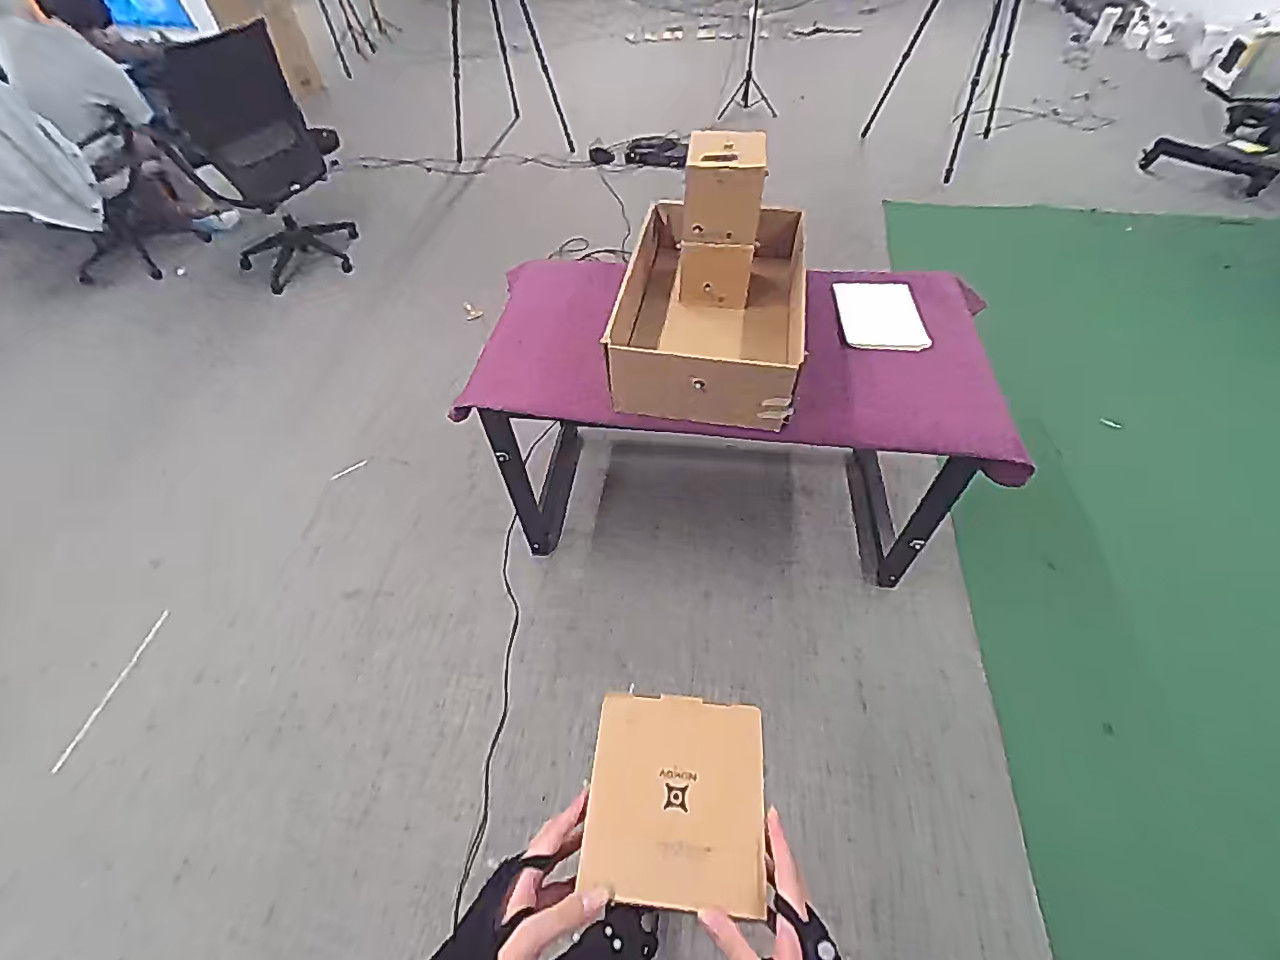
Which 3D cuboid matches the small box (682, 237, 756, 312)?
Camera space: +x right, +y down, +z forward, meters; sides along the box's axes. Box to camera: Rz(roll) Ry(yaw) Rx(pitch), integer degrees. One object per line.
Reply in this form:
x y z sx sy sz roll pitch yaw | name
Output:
0.196 -0.546 1.346 0.168 0.176 0.179 6 54 6 | small box

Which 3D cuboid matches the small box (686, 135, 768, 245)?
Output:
0.193 -0.651 1.219 0.168 0.176 0.179 6 53 5 | small box

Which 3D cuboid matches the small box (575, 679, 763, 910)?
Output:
0.035 0.335 0.575 0.168 0.176 0.179 4 51 6 | small box
